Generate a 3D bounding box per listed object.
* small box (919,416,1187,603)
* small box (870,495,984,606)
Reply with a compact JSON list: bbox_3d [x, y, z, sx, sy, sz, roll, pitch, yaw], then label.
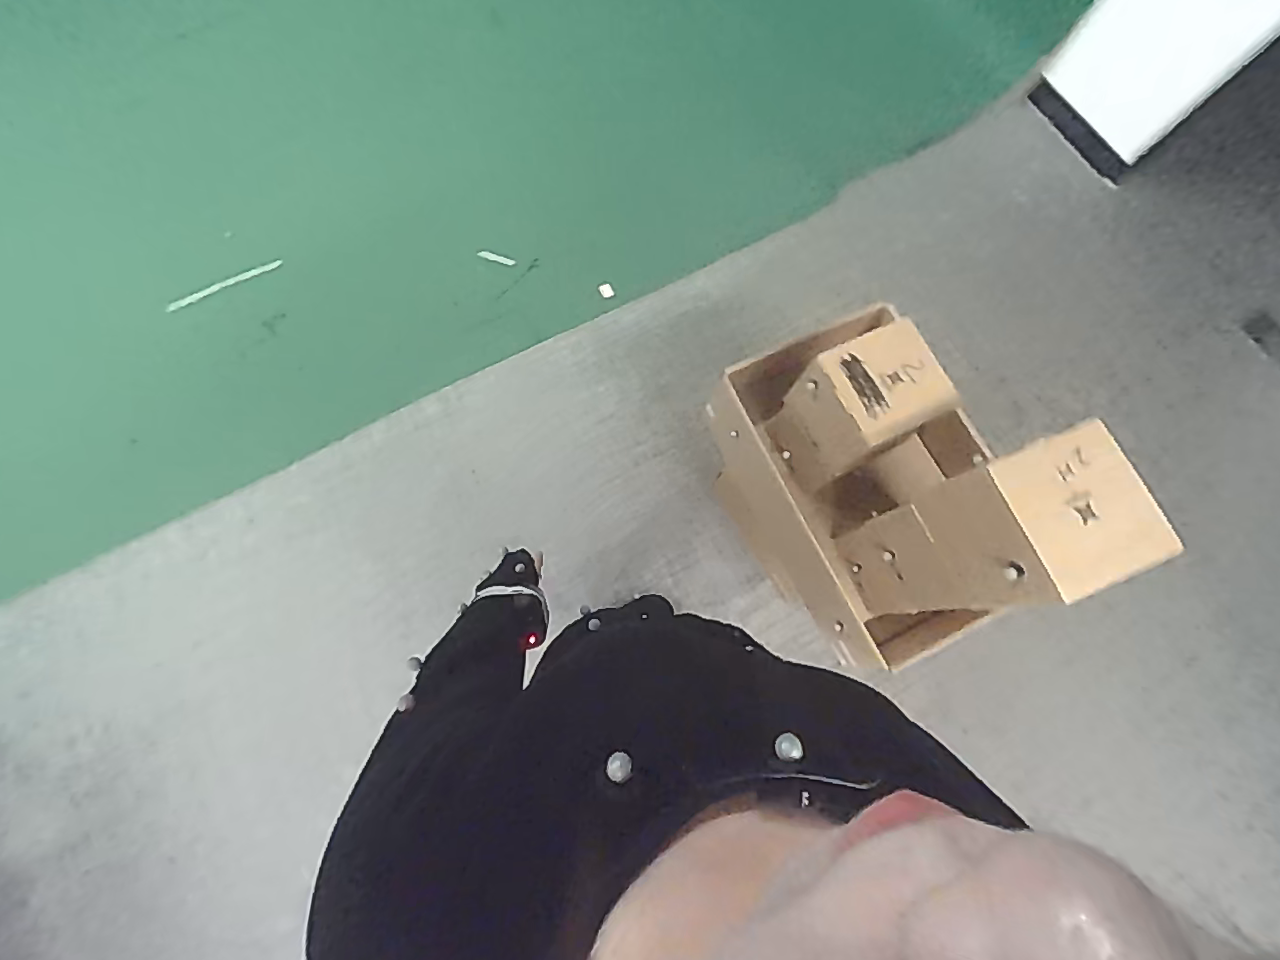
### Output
[{"bbox_3d":[0.503,0.048,0.690,0.168,0.176,0.179,-20,75,-7],"label":"small box"},{"bbox_3d":[0.503,0.088,0.850,0.179,0.176,0.168,-22,76,-6],"label":"small box"}]
